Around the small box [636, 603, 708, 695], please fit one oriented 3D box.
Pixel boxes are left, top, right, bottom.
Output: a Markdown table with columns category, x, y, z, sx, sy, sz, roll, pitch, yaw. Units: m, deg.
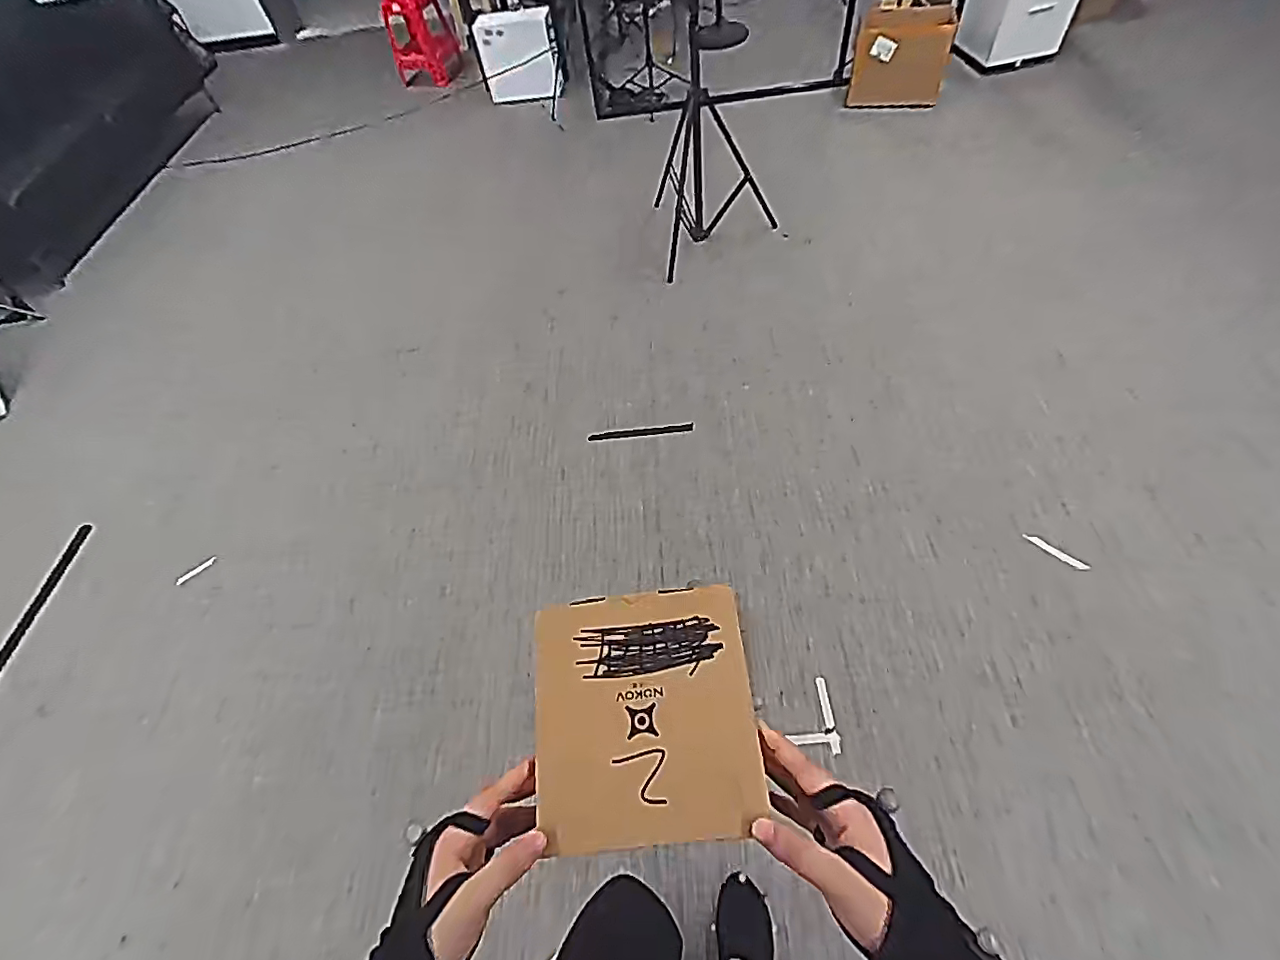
| category | x | y | z | sx | sy | sz | roll | pitch | yaw |
| --- | --- | --- | --- | --- | --- | --- | --- | --- | --- |
| small box | 0.080 | 0.430 | 1.369 | 0.168 | 0.176 | 0.179 | -6 | 56 | 3 |
